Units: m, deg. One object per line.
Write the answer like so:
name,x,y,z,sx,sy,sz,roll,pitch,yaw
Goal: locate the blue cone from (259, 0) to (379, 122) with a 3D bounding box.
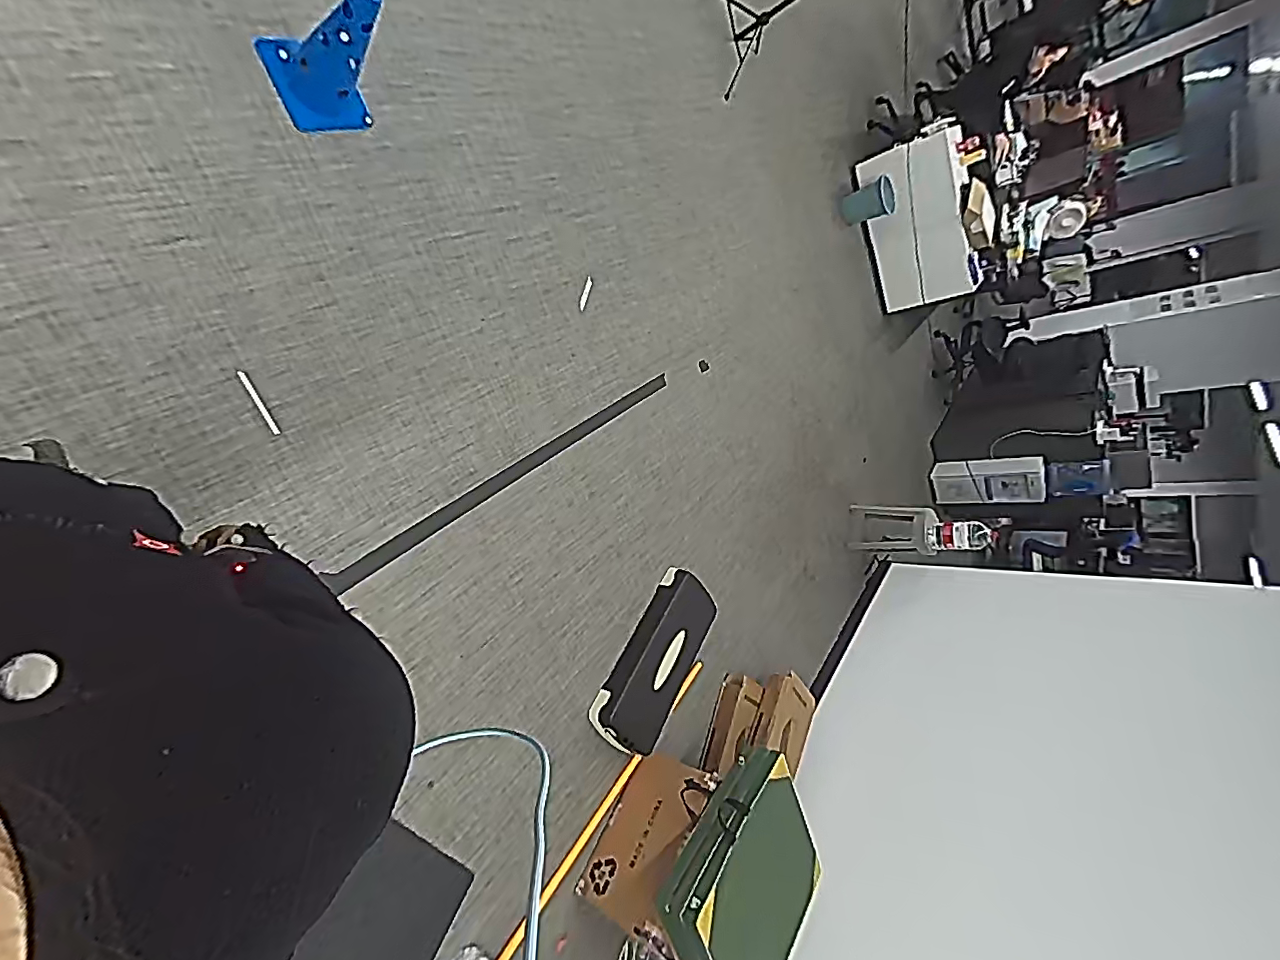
blue cone,-0.661,-0.973,1.186,0.192,0.380,0.193,-38,114,-42
